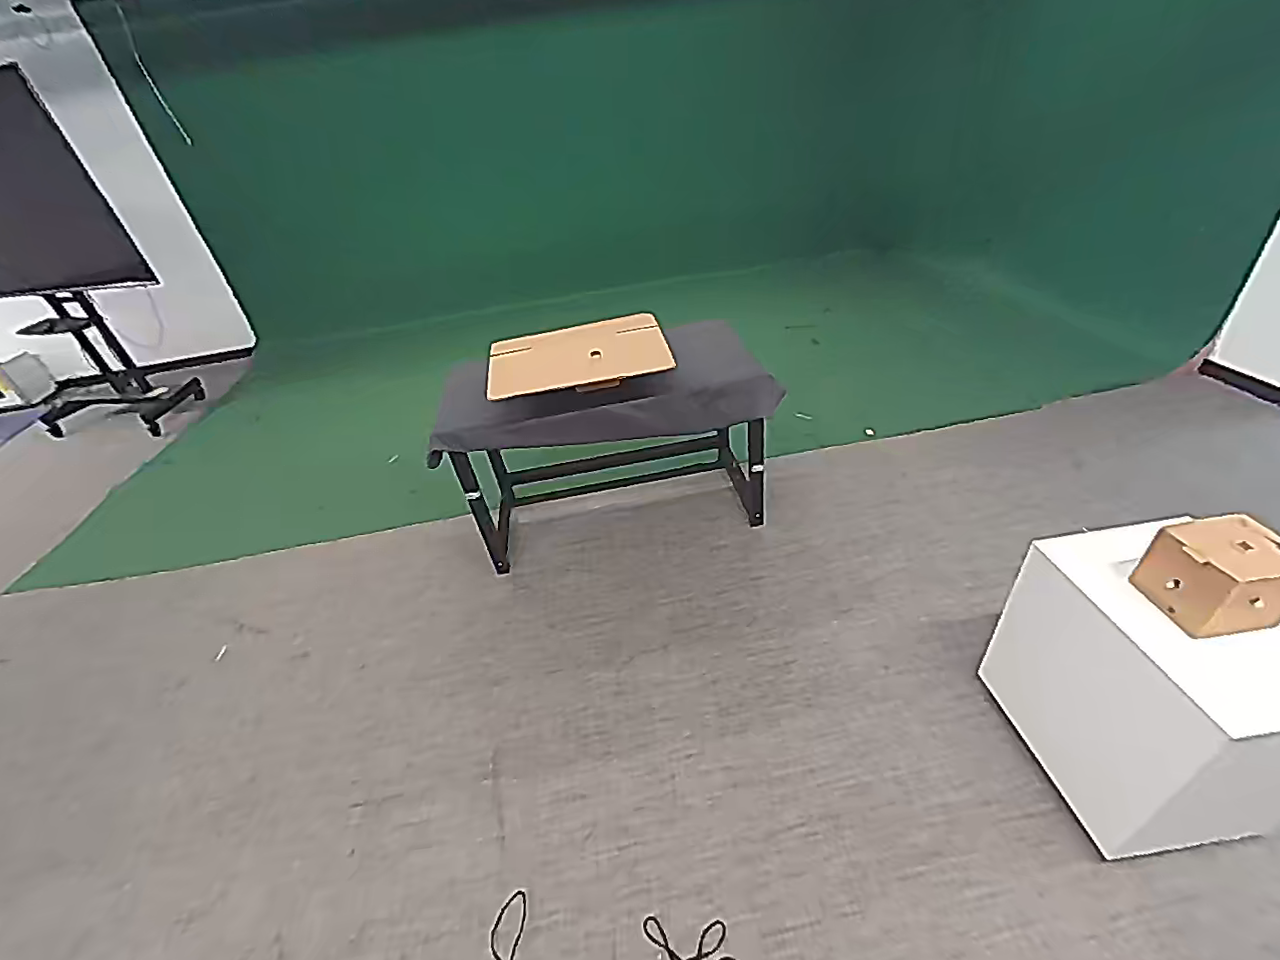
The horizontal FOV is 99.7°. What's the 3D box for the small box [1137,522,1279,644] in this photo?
[{"bbox_3d":[1.173,0.211,1.100,0.179,0.176,0.168,-9,35,-3],"label":"small box"}]
